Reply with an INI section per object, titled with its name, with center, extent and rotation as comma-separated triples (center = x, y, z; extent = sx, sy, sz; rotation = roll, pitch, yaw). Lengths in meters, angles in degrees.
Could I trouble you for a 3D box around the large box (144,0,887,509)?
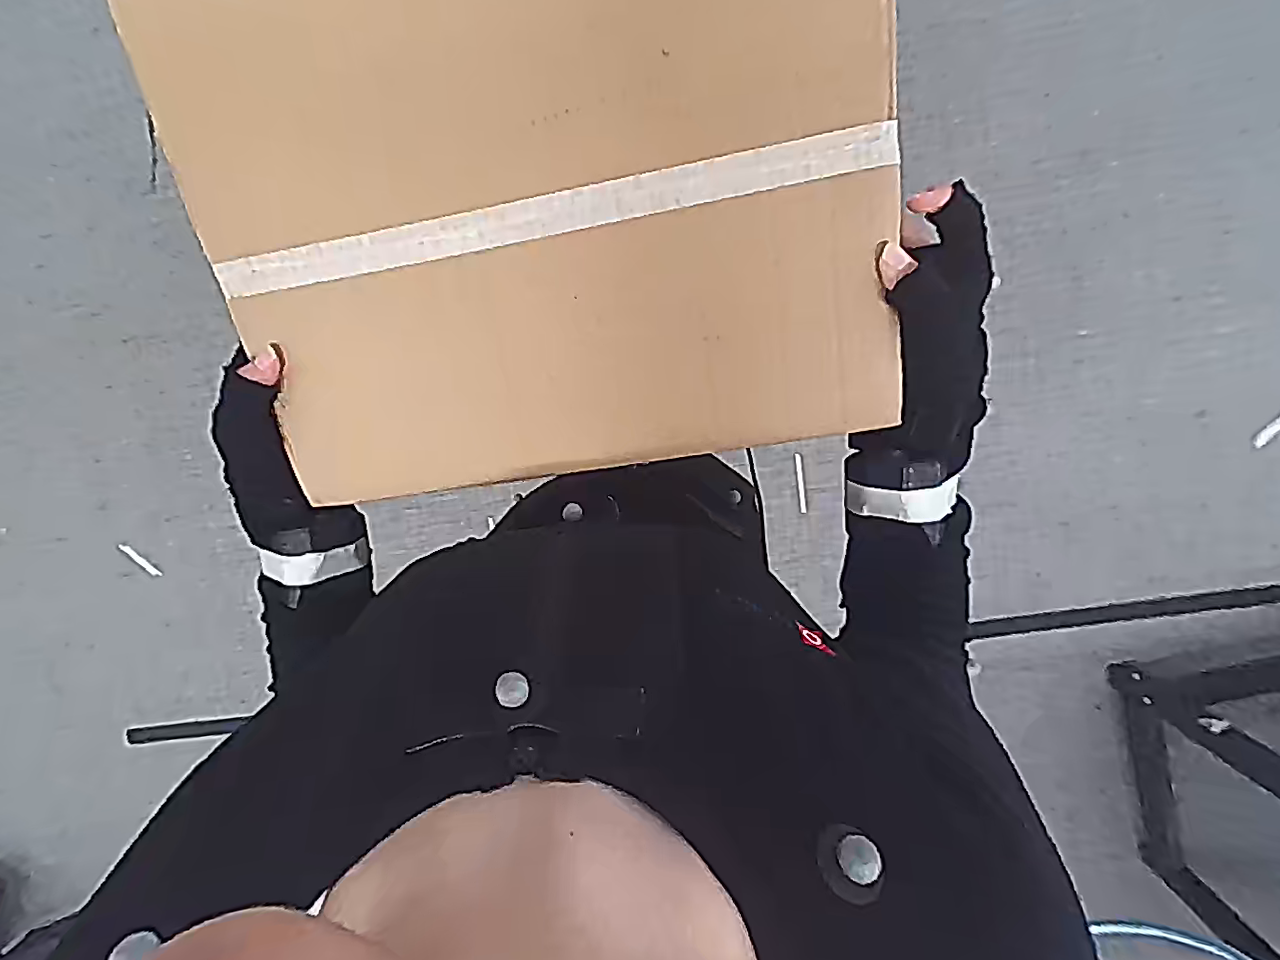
[large box]
center = -0.048, -0.199, 0.465
extent = 0.408, 0.320, 0.320
rotation = -7, 108, 7
